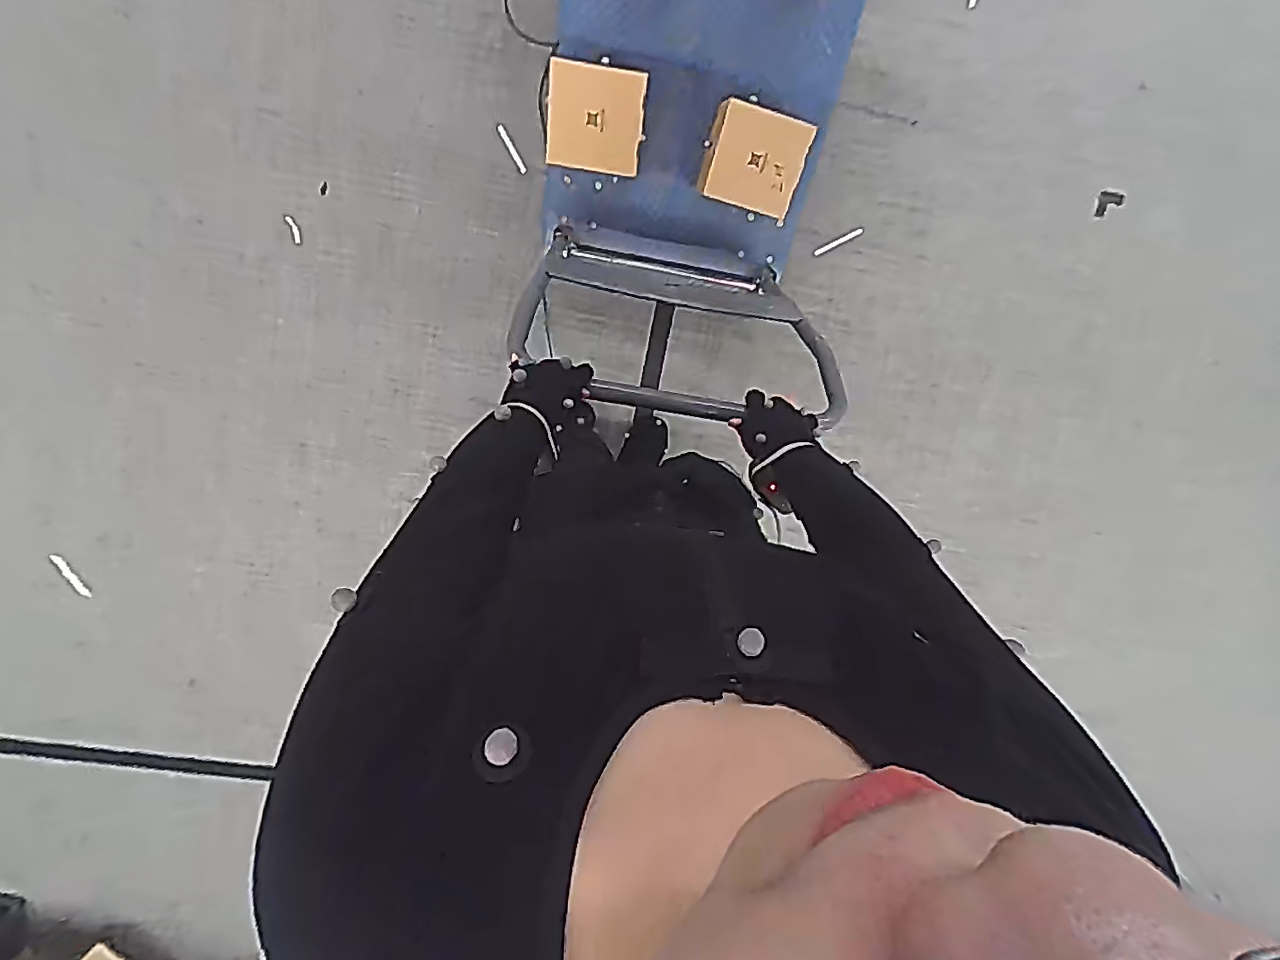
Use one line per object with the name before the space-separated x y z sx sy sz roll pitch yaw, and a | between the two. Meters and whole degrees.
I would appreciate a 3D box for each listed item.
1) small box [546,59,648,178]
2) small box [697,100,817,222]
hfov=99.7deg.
small box | -0.085 -0.701 1.065 0.179 0.176 0.168 5 120 -6
small box | 0.226 -0.644 1.102 0.179 0.176 0.168 13 120 -8
